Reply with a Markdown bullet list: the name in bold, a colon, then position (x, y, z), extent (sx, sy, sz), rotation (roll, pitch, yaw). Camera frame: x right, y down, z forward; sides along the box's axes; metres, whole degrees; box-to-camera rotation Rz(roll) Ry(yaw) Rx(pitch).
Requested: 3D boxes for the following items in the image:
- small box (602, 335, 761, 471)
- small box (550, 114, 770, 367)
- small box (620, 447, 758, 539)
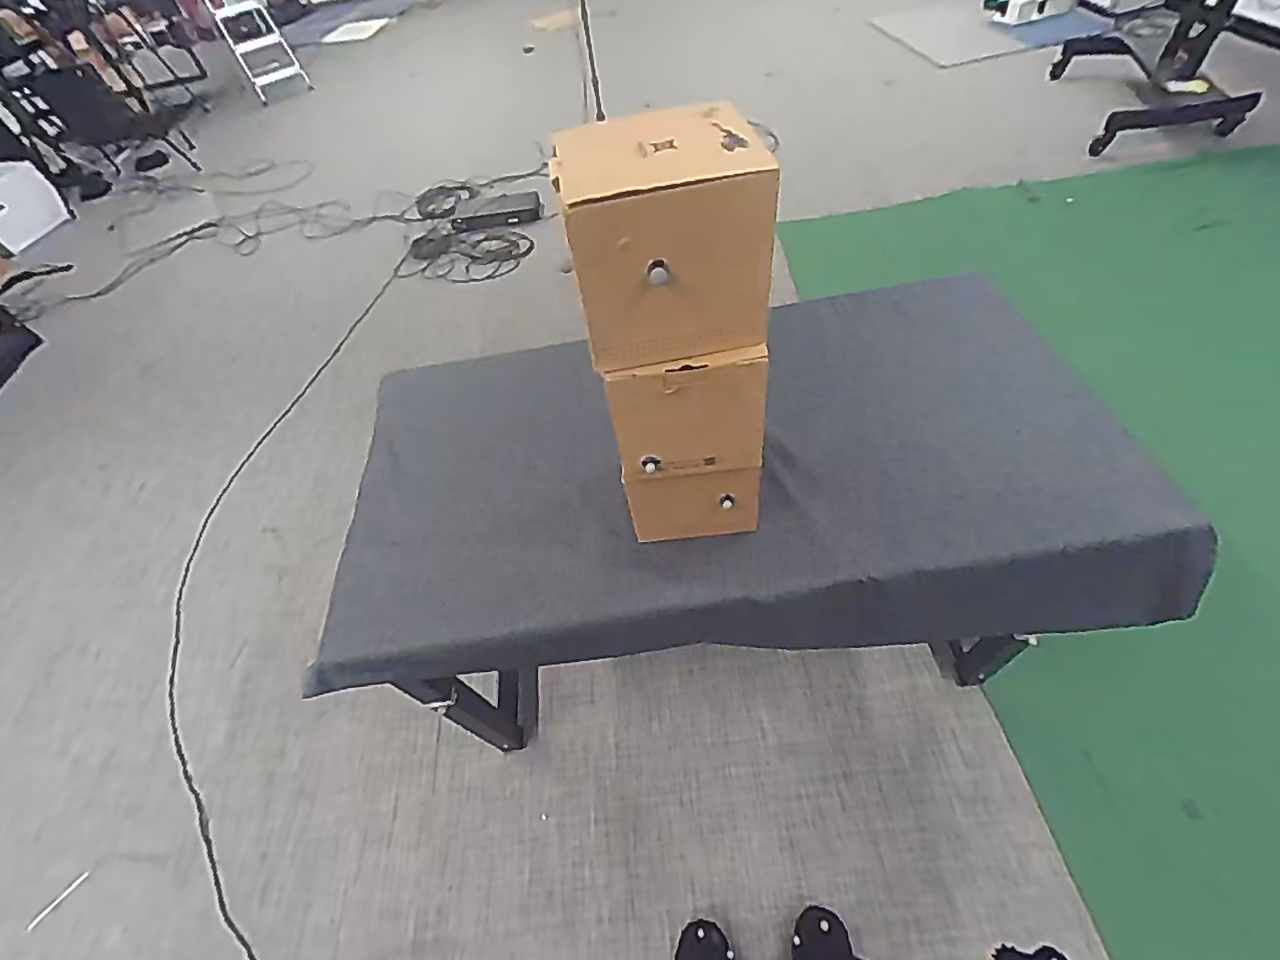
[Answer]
- **small box**: position (0.047, -0.125, 0.659), extent (0.168, 0.176, 0.179), rotation (-9, 52, 2)
- **small box**: position (0.018, -0.235, 0.543), extent (0.179, 0.176, 0.168), rotation (-12, 49, -2)
- **small box**: position (0.069, -0.030, 0.791), extent (0.179, 0.176, 0.168), rotation (-7, 51, 5)
